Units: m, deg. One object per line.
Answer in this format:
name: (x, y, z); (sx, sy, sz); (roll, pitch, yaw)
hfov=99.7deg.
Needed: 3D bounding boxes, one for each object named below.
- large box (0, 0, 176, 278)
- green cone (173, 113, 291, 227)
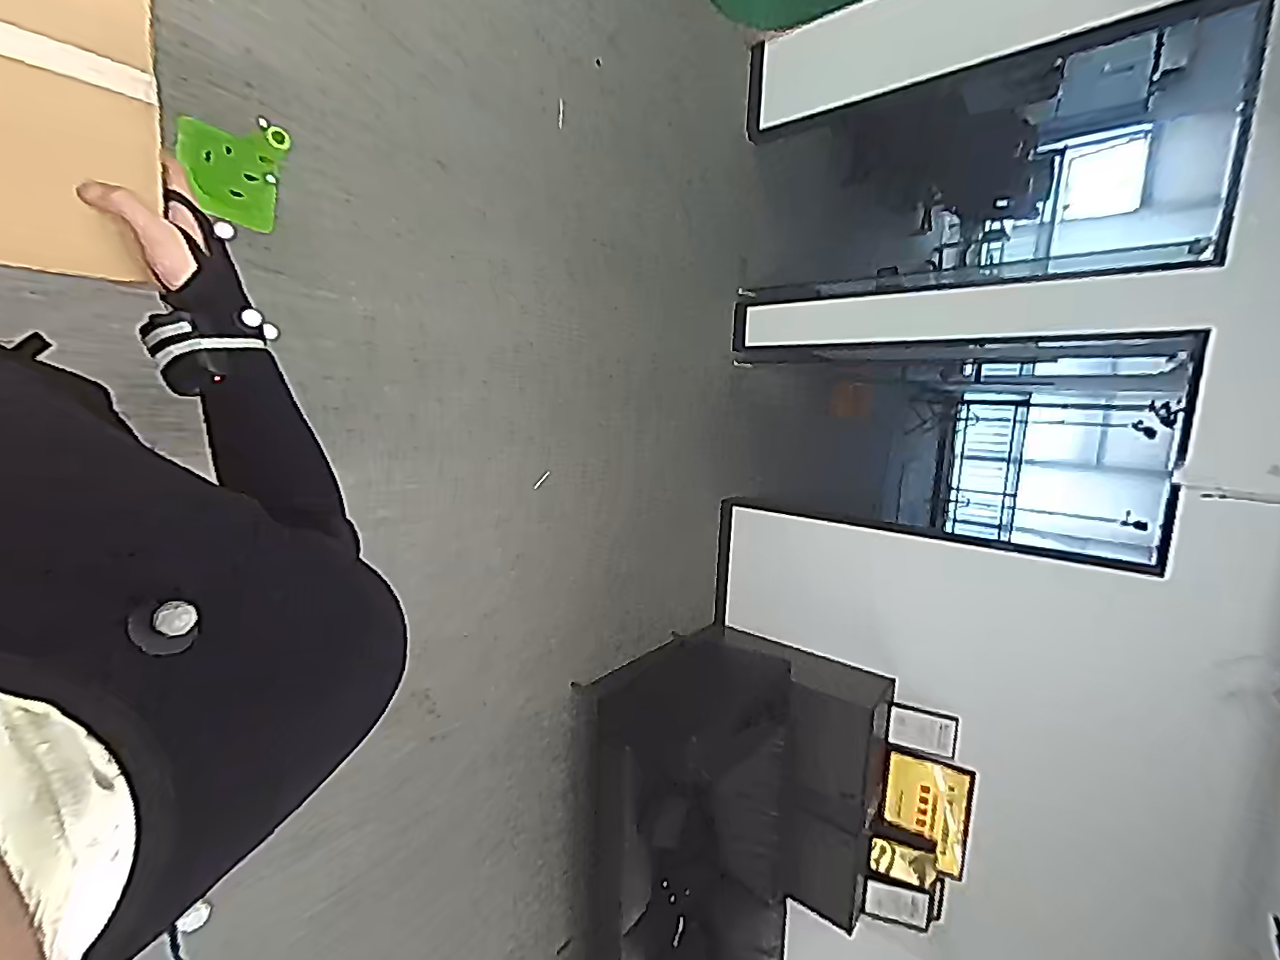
large box: (-0.642, -0.354, 0.389); (0.408, 0.320, 0.320); (-10, 119, -50)
green cone: (-0.866, -0.727, 1.205); (0.200, 0.368, 0.202); (2, 94, -52)
